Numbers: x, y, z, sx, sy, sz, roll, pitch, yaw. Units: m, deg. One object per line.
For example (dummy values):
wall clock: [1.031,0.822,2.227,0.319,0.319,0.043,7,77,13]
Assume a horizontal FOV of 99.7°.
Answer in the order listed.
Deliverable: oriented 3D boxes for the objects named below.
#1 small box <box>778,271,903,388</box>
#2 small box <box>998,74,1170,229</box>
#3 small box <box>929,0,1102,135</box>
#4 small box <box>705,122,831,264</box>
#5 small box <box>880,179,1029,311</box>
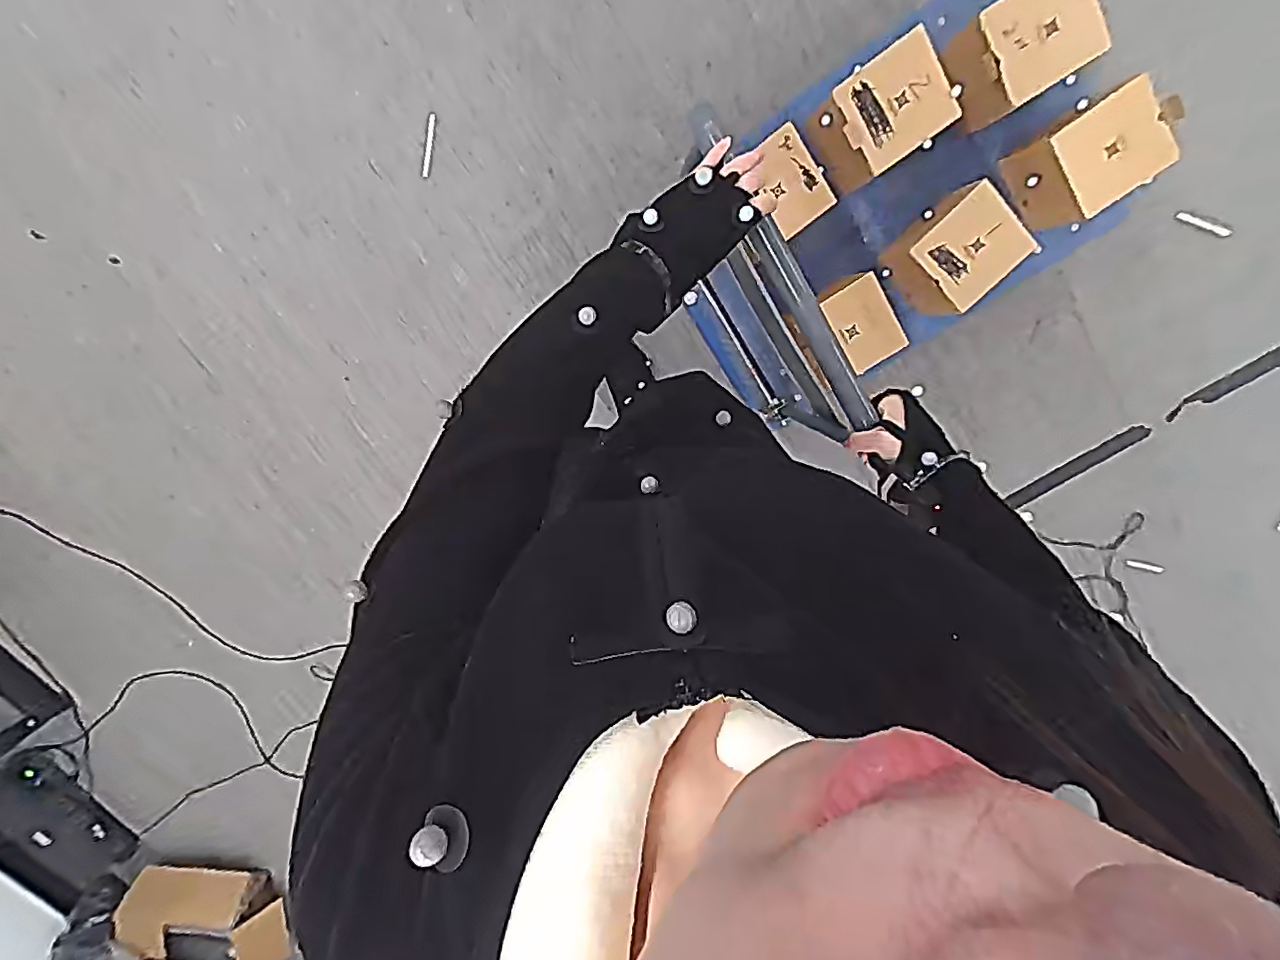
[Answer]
small box: [0.410,-0.315,1.142,0.179,0.176,0.168,-31,104,10]
small box: [0.836,-0.615,1.043,0.179,0.176,0.168,-35,103,11]
small box: [0.677,-0.782,0.993,0.179,0.176,0.168,-30,103,10]
small box: [0.242,-0.552,1.072,0.179,0.176,0.168,-35,104,11]
small box: [0.617,-0.459,1.093,0.168,0.176,0.179,44,102,-11]
